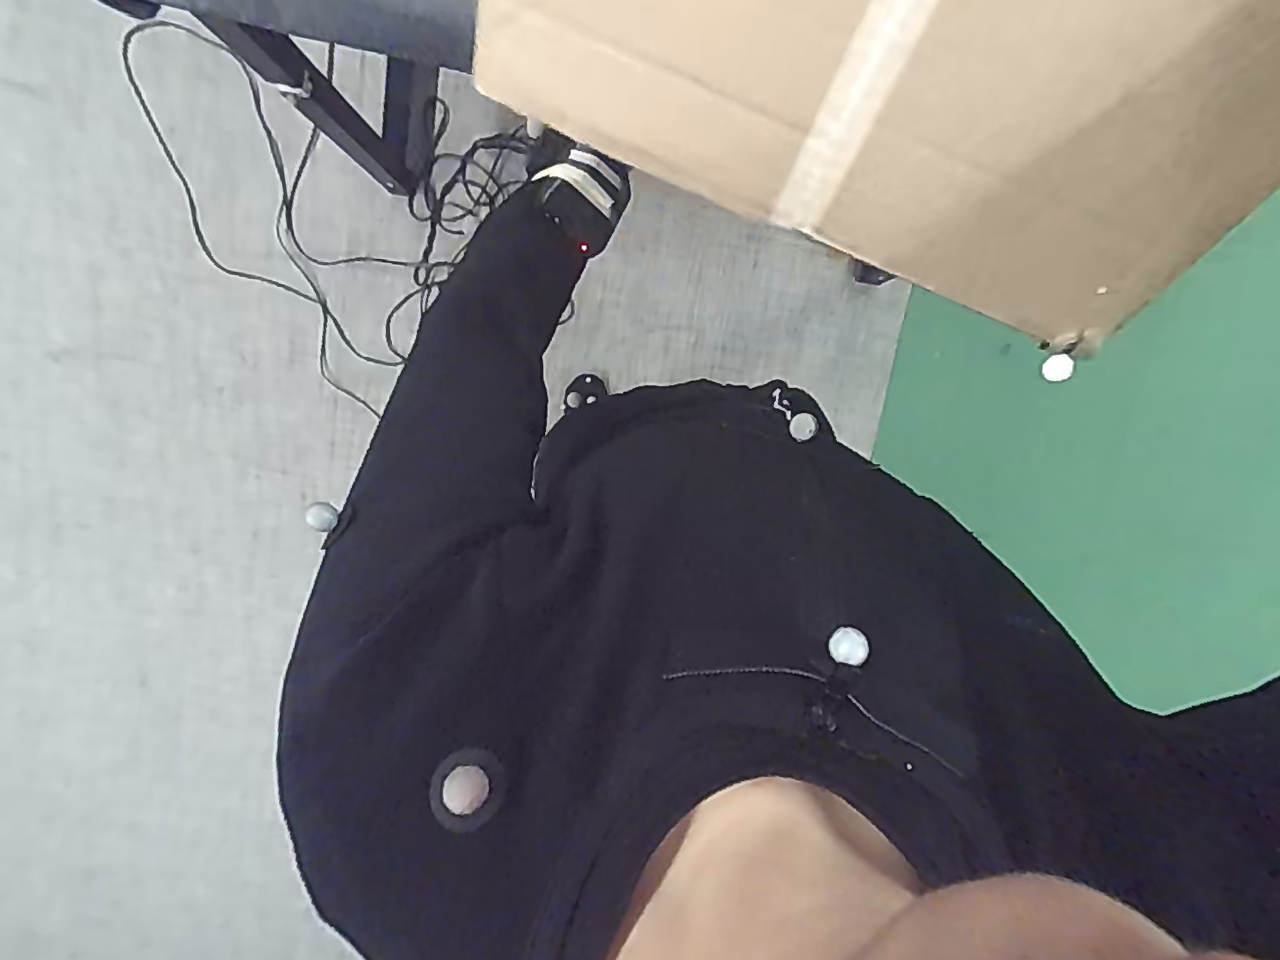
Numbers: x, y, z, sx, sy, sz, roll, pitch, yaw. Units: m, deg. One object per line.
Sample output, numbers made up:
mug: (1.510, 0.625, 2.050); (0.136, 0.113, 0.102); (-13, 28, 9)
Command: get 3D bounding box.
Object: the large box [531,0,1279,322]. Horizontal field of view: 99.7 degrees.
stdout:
large box: (0.173, -0.359, 0.226); (0.320, 0.320, 0.408); (21, 137, -2)
